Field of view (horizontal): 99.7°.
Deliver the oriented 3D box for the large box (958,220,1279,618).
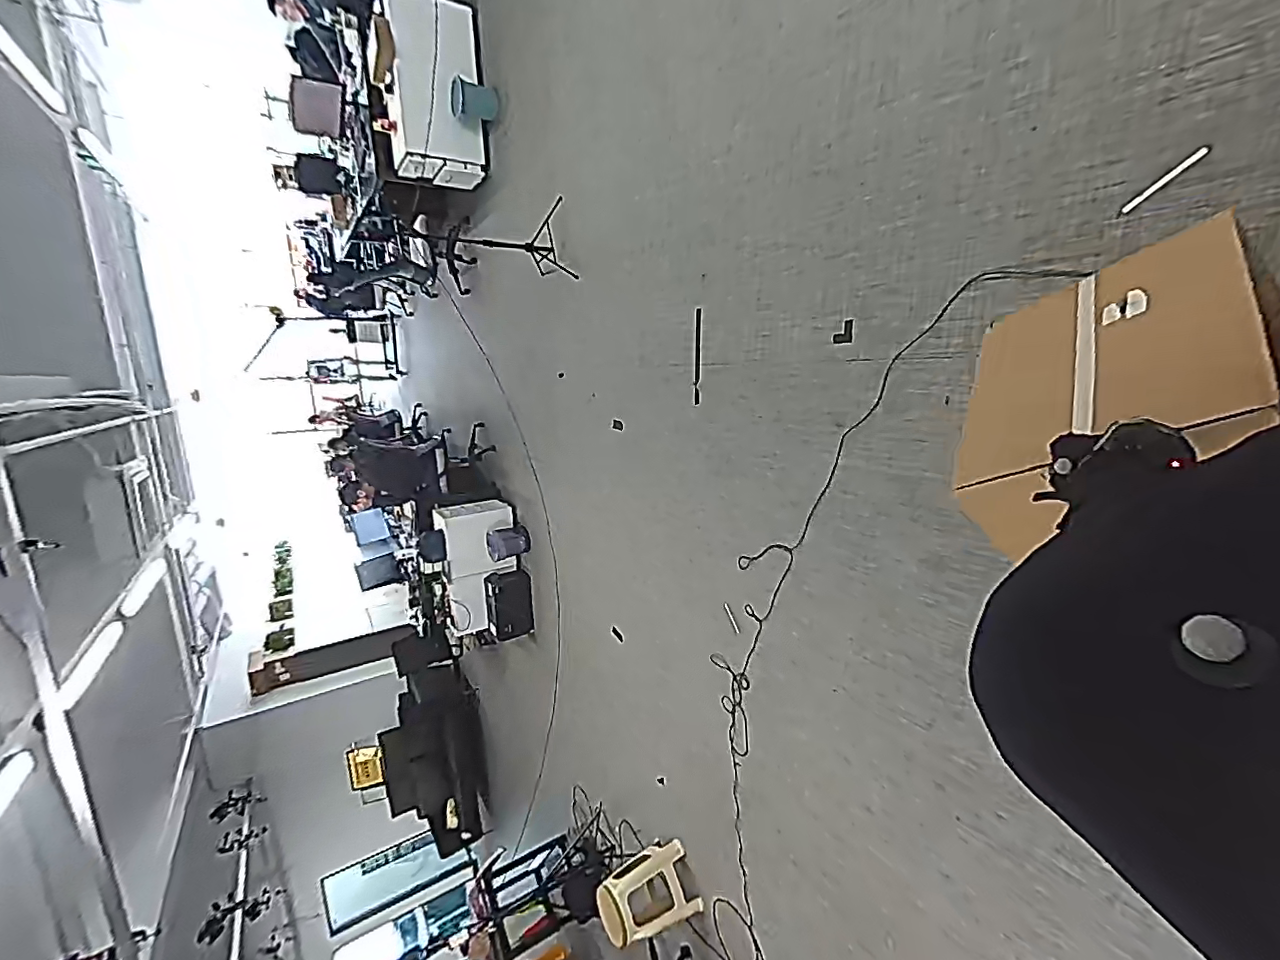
[{"bbox_3d":[0.718,-0.068,0.762,0.320,0.408,0.320,43,147,-12],"label":"large box"}]
